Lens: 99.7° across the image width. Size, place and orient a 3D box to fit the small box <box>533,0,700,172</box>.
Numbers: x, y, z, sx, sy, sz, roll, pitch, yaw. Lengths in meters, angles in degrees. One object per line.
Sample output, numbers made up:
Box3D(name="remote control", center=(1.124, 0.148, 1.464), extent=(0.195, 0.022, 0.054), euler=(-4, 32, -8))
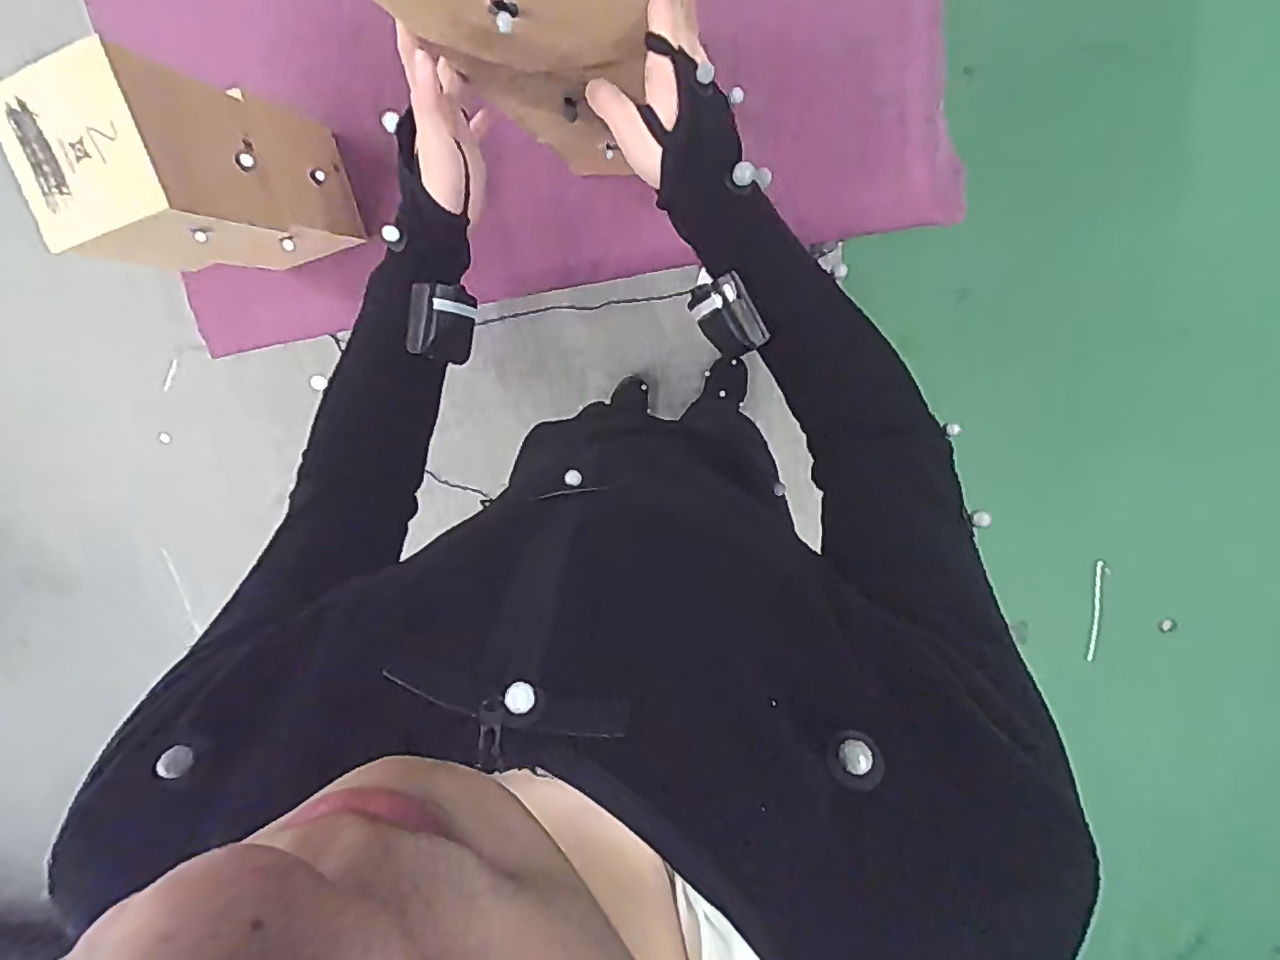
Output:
Box3D(name="small box", center=(-0.023, -0.495, 0.672), extent=(0.179, 0.176, 0.168), euler=(5, 107, 9))

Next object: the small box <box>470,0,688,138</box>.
Box3D(name="small box", center=(-0.051, -0.448, 0.517), extent=(0.179, 0.176, 0.168), euler=(2, 107, 11))

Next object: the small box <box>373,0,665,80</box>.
Box3D(name="small box", center=(-0.080, -0.396, 0.351), extent=(0.179, 0.176, 0.168), euler=(3, 105, 15))

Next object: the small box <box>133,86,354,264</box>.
Box3D(name="small box", center=(-0.552, -0.425, 0.785), extent=(0.179, 0.176, 0.168), euler=(-10, 104, 13))
